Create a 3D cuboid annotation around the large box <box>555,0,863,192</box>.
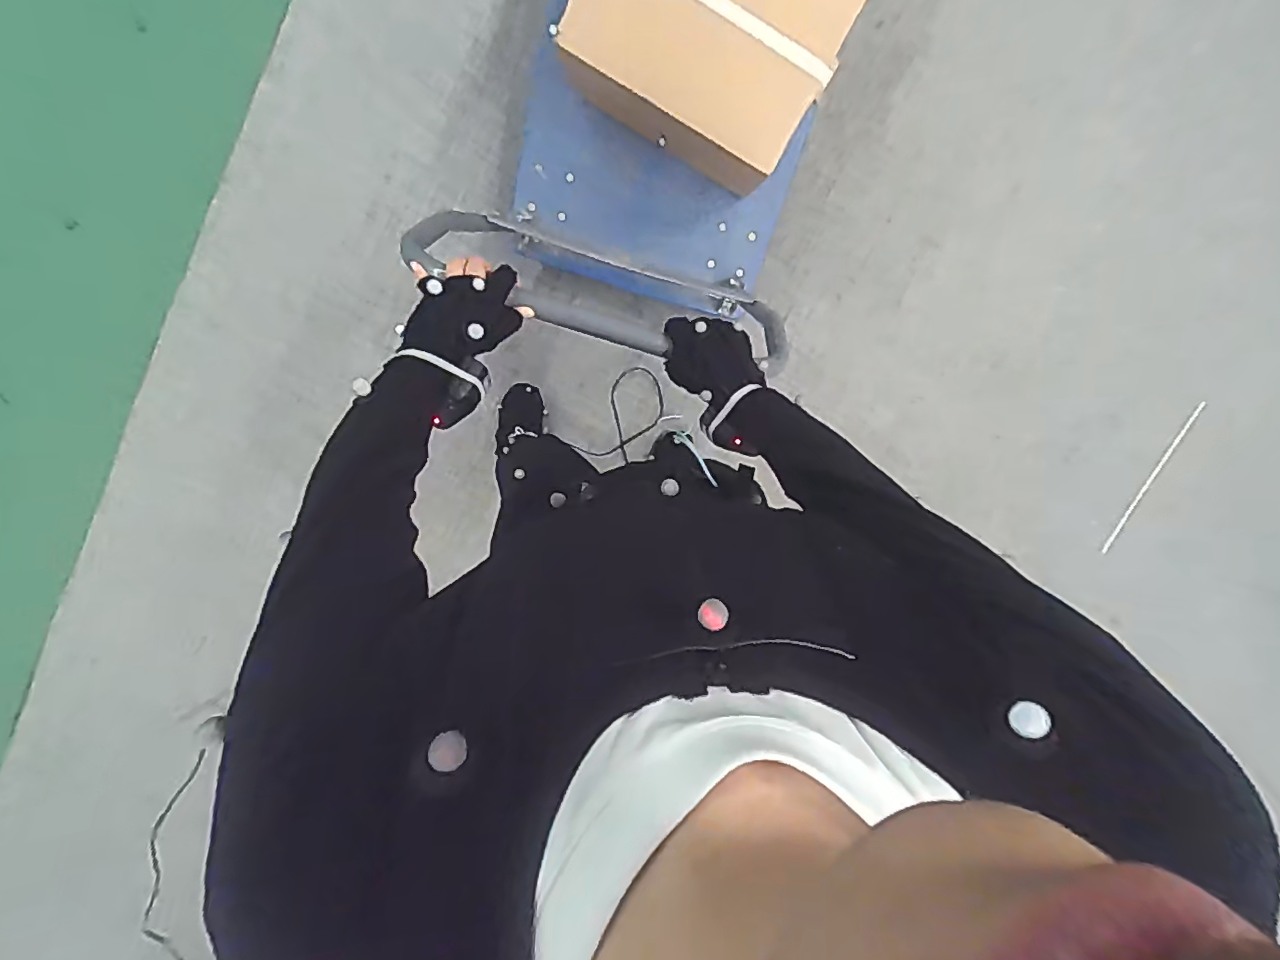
[{"bbox_3d":[0.119,-0.777,0.966,0.408,0.320,0.320,28,110,-8],"label":"large box"}]
